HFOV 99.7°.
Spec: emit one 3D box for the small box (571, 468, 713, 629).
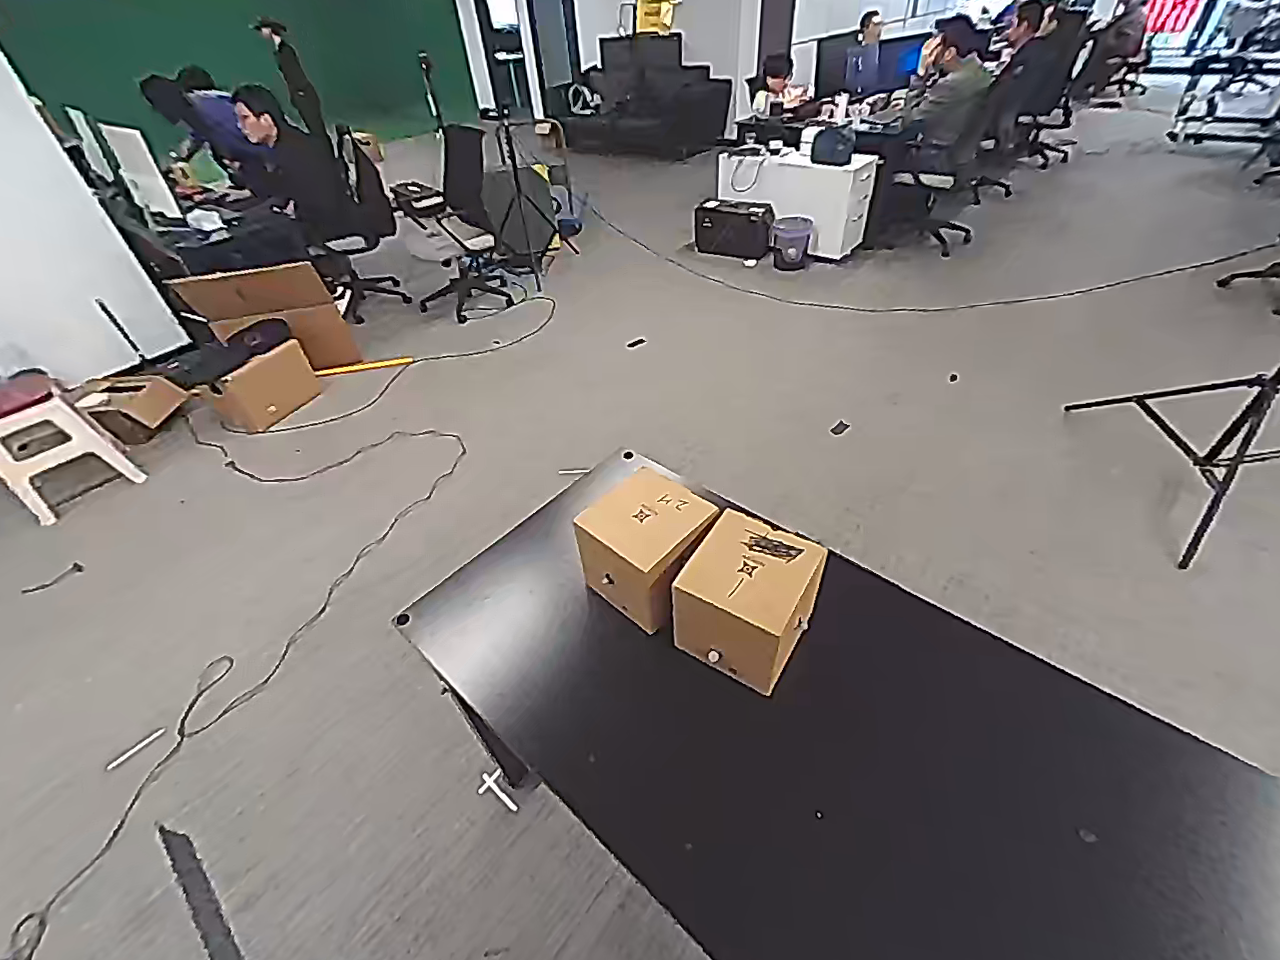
[{"bbox_3d":[0.010,0.117,0.923,0.168,0.176,0.179,30,52,32],"label":"small box"}]
